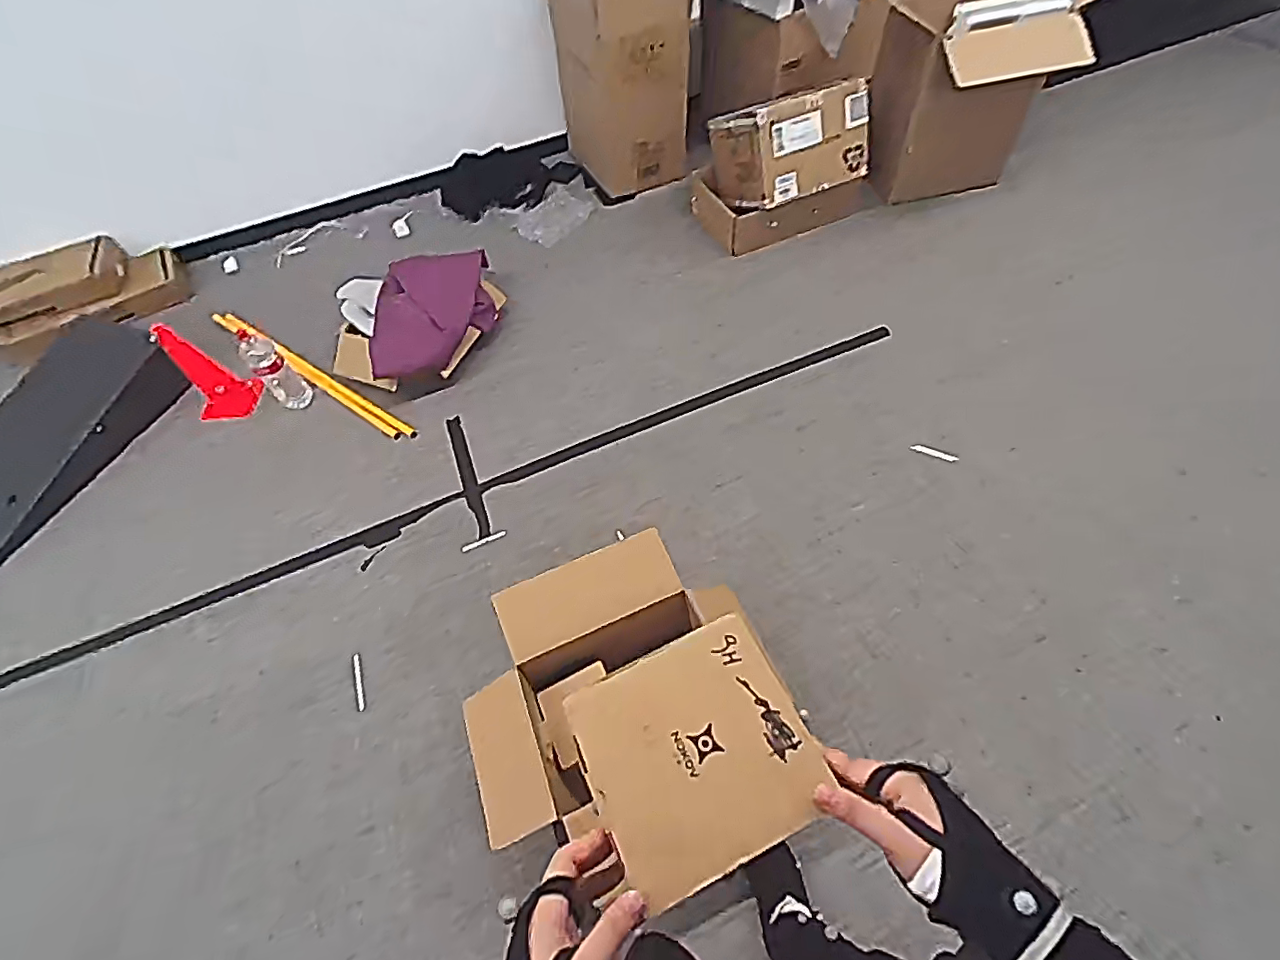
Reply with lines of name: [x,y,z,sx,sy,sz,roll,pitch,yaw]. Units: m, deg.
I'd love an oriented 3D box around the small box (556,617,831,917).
small box: [0.045,0.260,0.508,0.179,0.176,0.168,-25,62,-8]
